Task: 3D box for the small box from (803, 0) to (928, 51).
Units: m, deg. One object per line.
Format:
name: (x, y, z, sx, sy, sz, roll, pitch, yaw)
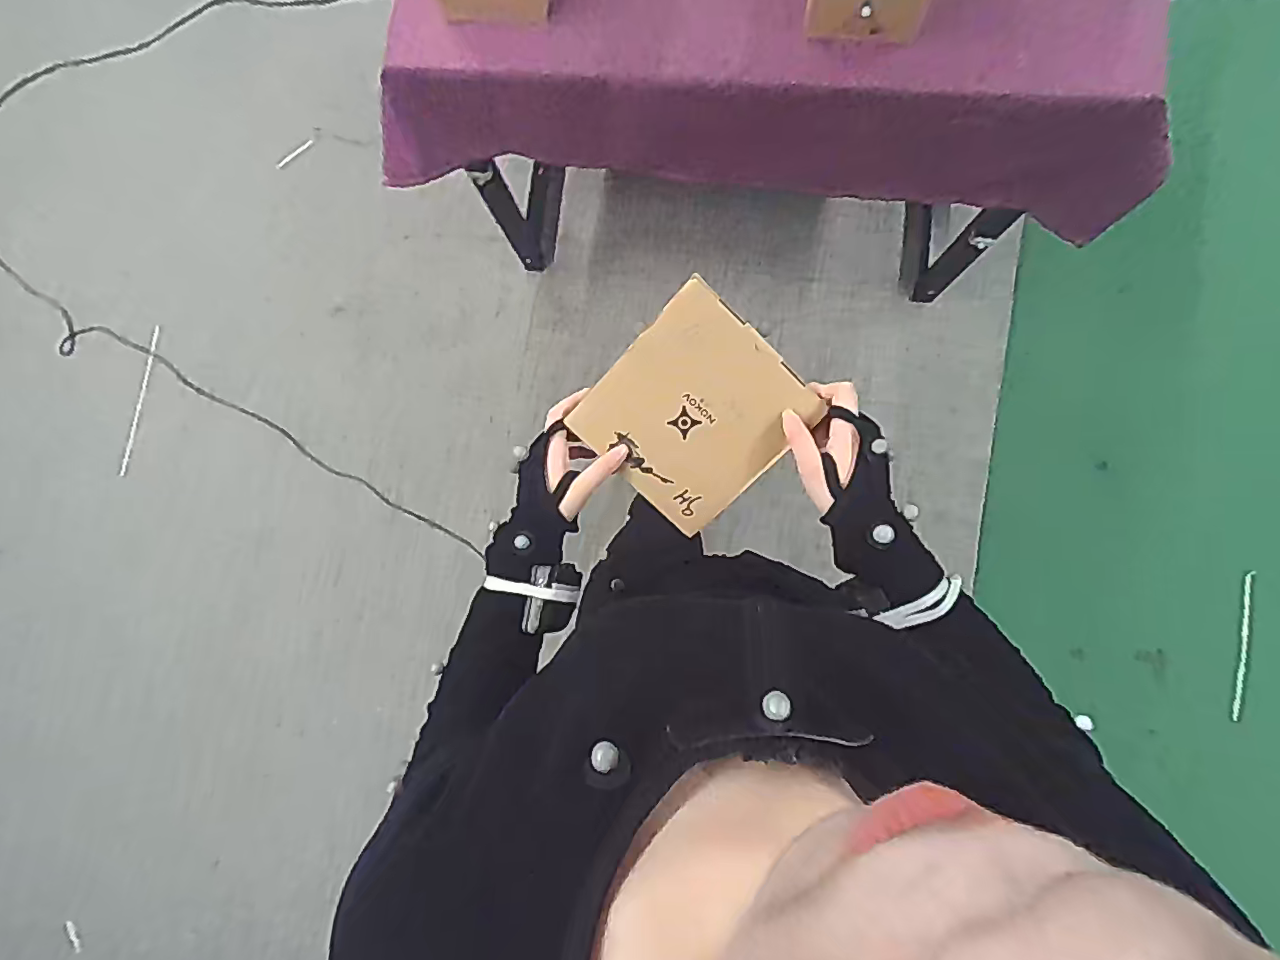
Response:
small box: (0.337, -0.764, 0.763, 0.168, 0.176, 0.179, 9, 85, 6)
